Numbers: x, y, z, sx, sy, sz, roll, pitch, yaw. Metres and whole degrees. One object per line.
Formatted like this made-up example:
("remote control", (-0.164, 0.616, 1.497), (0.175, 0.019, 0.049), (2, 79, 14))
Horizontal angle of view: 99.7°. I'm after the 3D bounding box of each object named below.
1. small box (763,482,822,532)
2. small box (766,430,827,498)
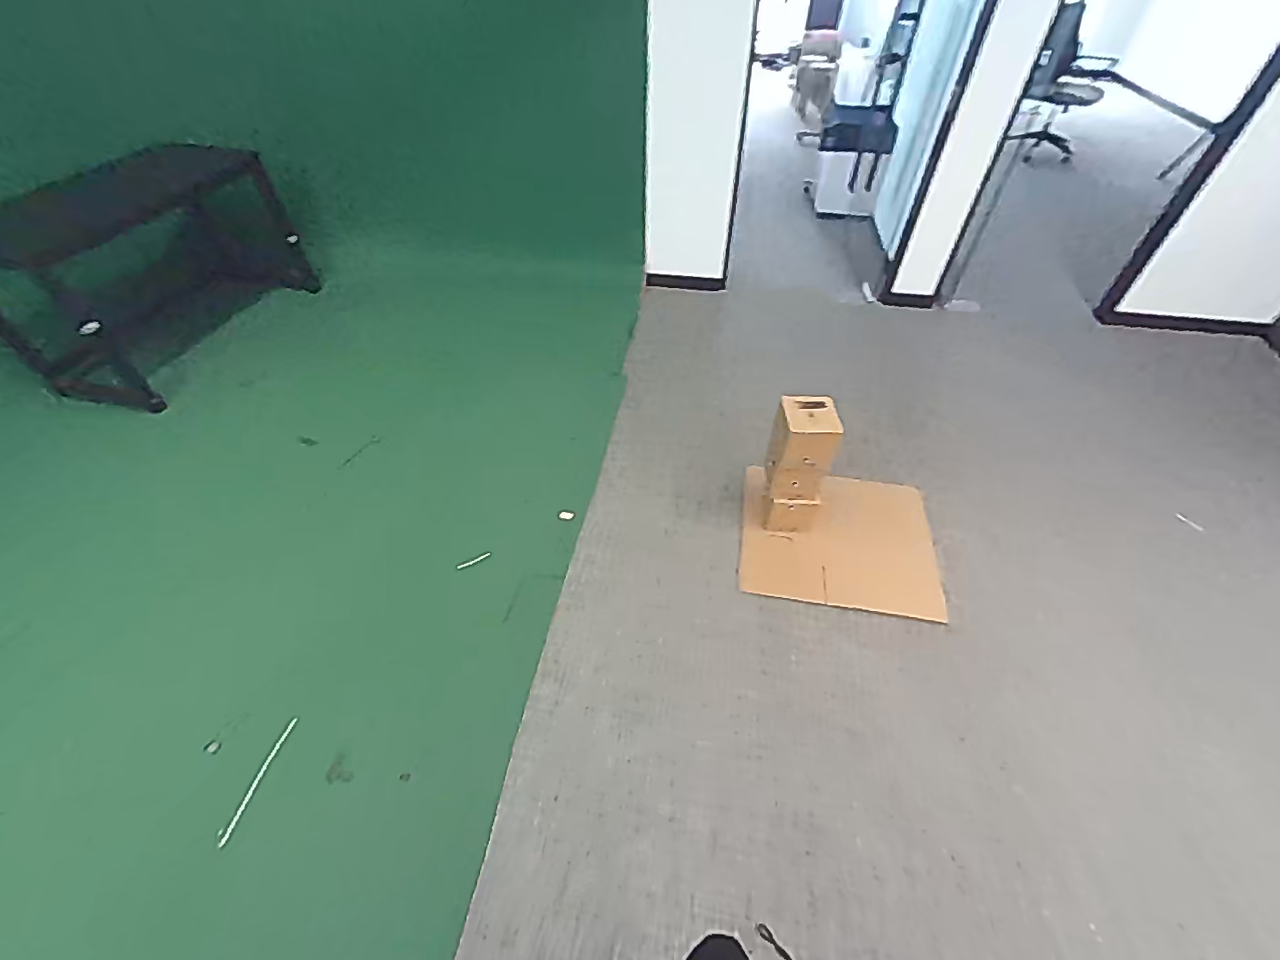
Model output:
("small box", (0.559, 0.071, 2.004), (0.168, 0.176, 0.179), (2, 47, 1))
("small box", (0.543, -0.055, 1.895), (0.168, 0.176, 0.179), (3, 46, 1))
